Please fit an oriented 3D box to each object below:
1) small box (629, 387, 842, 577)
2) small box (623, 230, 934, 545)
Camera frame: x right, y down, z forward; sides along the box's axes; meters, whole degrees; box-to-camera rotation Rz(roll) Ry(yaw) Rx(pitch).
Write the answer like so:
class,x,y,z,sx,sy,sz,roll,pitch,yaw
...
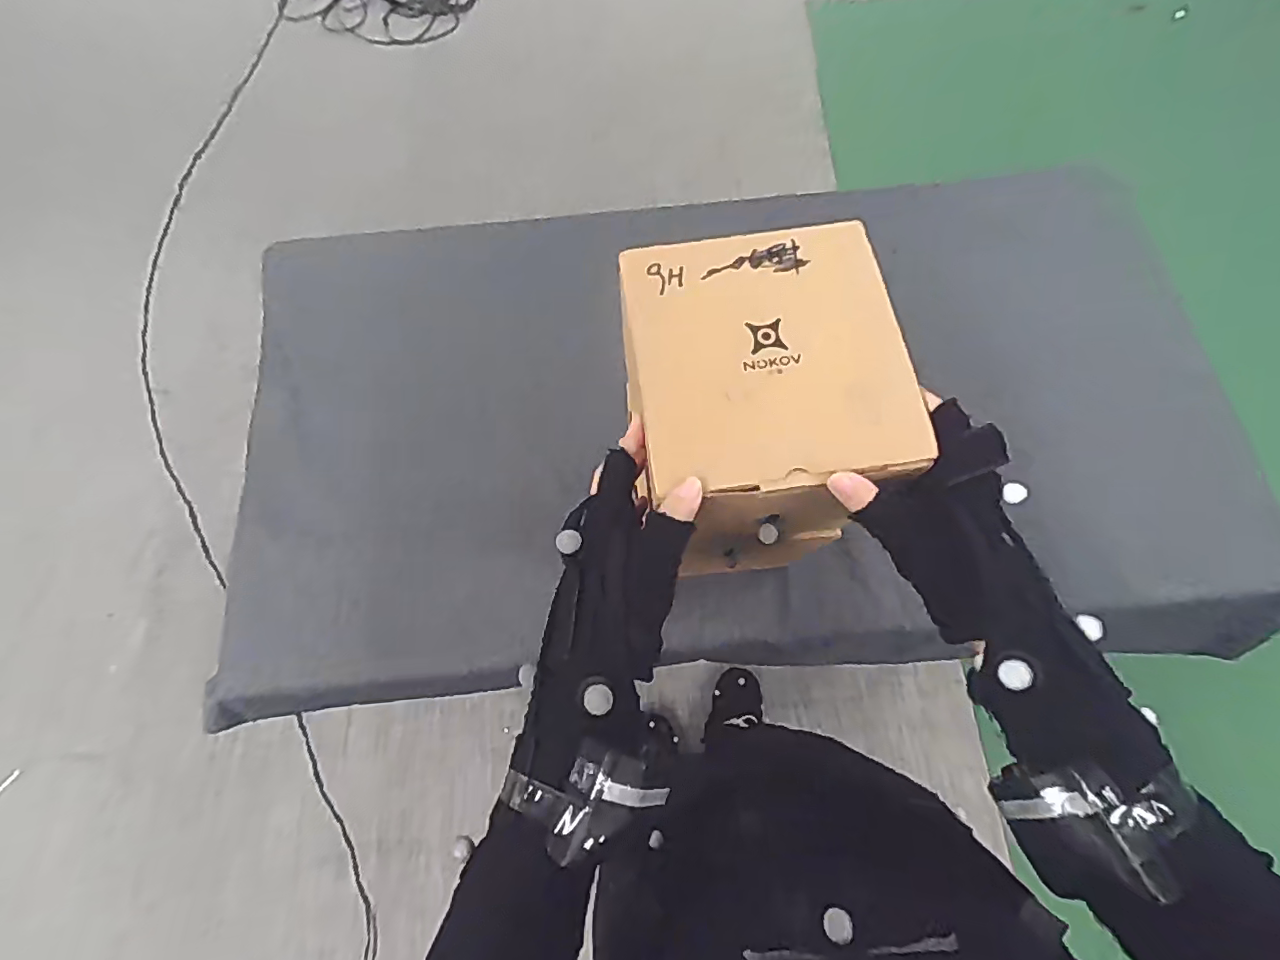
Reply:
class,x,y,z,sx,sy,sz,roll,pitch,yaw
small box,0.084,0.004,0.564,0.179,0.176,0.168,-5,73,-2
small box,0.082,-0.051,0.411,0.168,0.176,0.179,-8,73,-1
